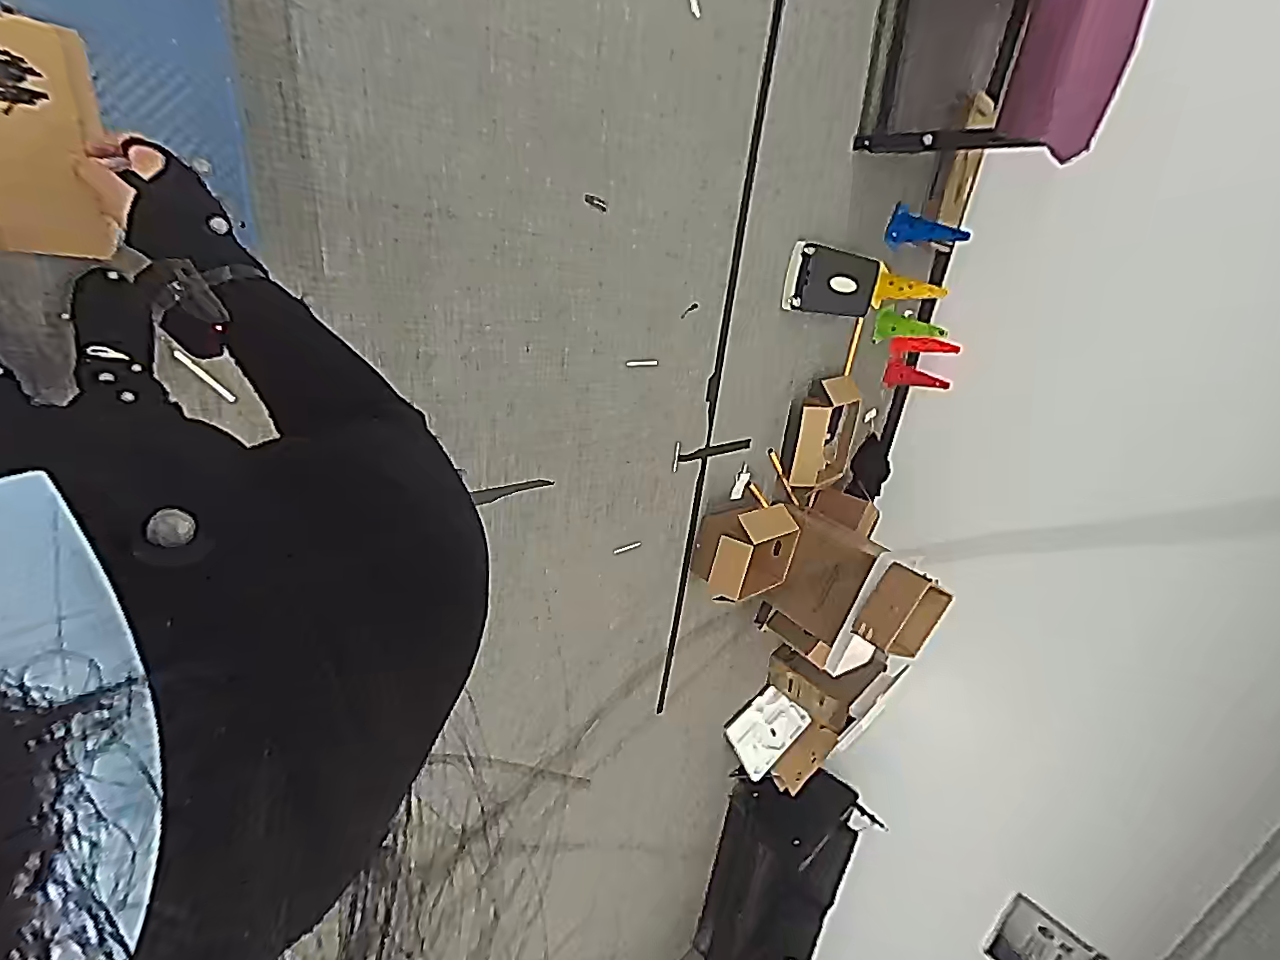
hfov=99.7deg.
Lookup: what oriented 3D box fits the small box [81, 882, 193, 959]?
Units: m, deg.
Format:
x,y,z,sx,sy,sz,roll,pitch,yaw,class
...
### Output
x,y,z,sx,sy,sz,roll,pitch,yaw,class
-1.321,1.217,1.423,0.168,0.176,0.179,-27,129,-35,small box
